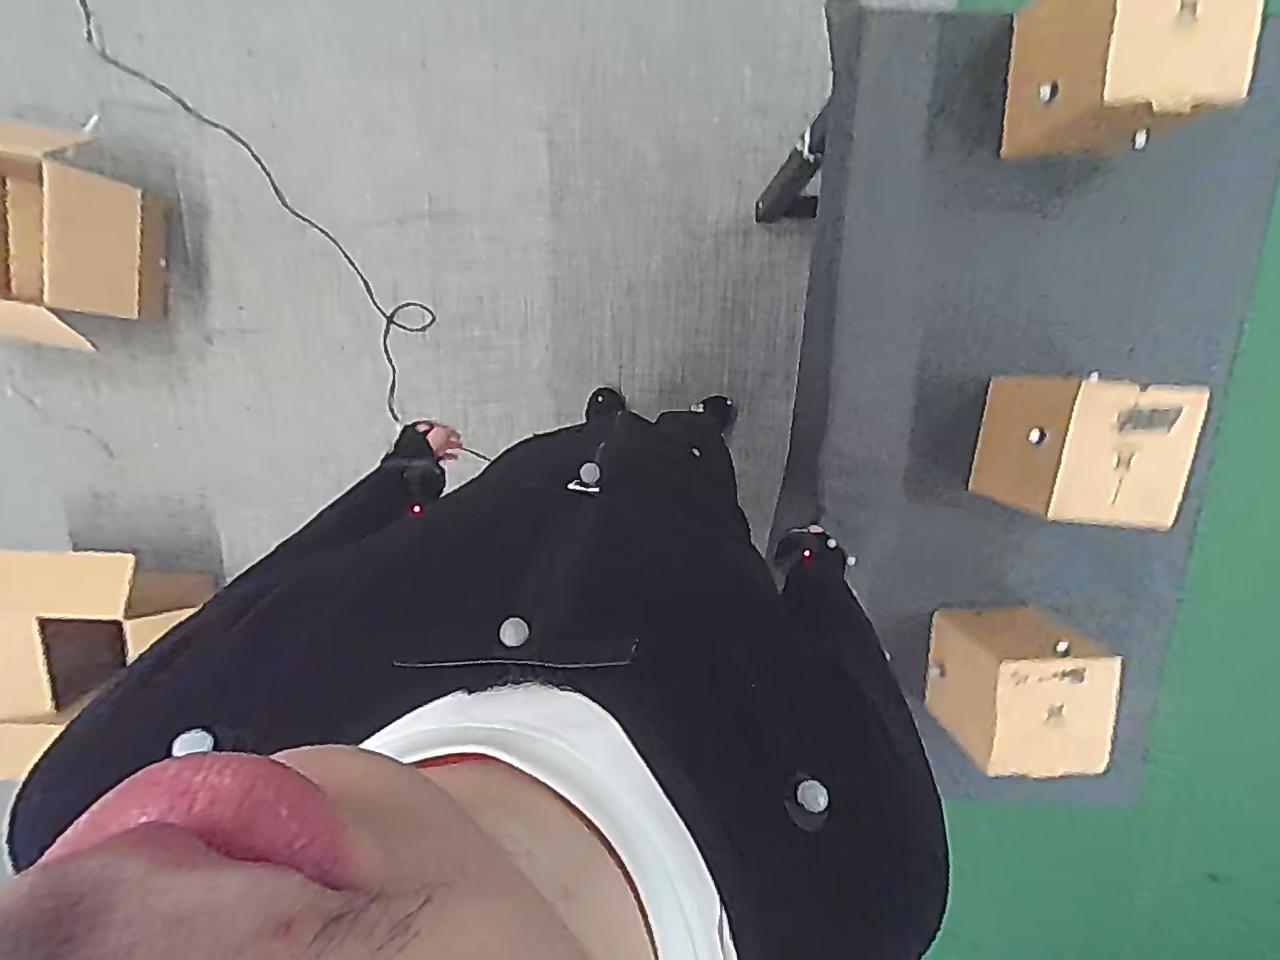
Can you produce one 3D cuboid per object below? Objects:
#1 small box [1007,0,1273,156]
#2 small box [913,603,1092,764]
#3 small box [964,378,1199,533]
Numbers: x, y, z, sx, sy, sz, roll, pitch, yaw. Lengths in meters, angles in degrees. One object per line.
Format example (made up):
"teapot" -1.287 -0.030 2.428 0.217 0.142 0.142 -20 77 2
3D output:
"small box" 0.577 -0.507 0.643 0.168 0.176 0.179 -2 100 -2
"small box" 0.546 0.308 0.841 0.168 0.176 0.179 -3 101 1
"small box" 0.590 -0.042 0.750 0.168 0.176 0.179 9 101 -1
